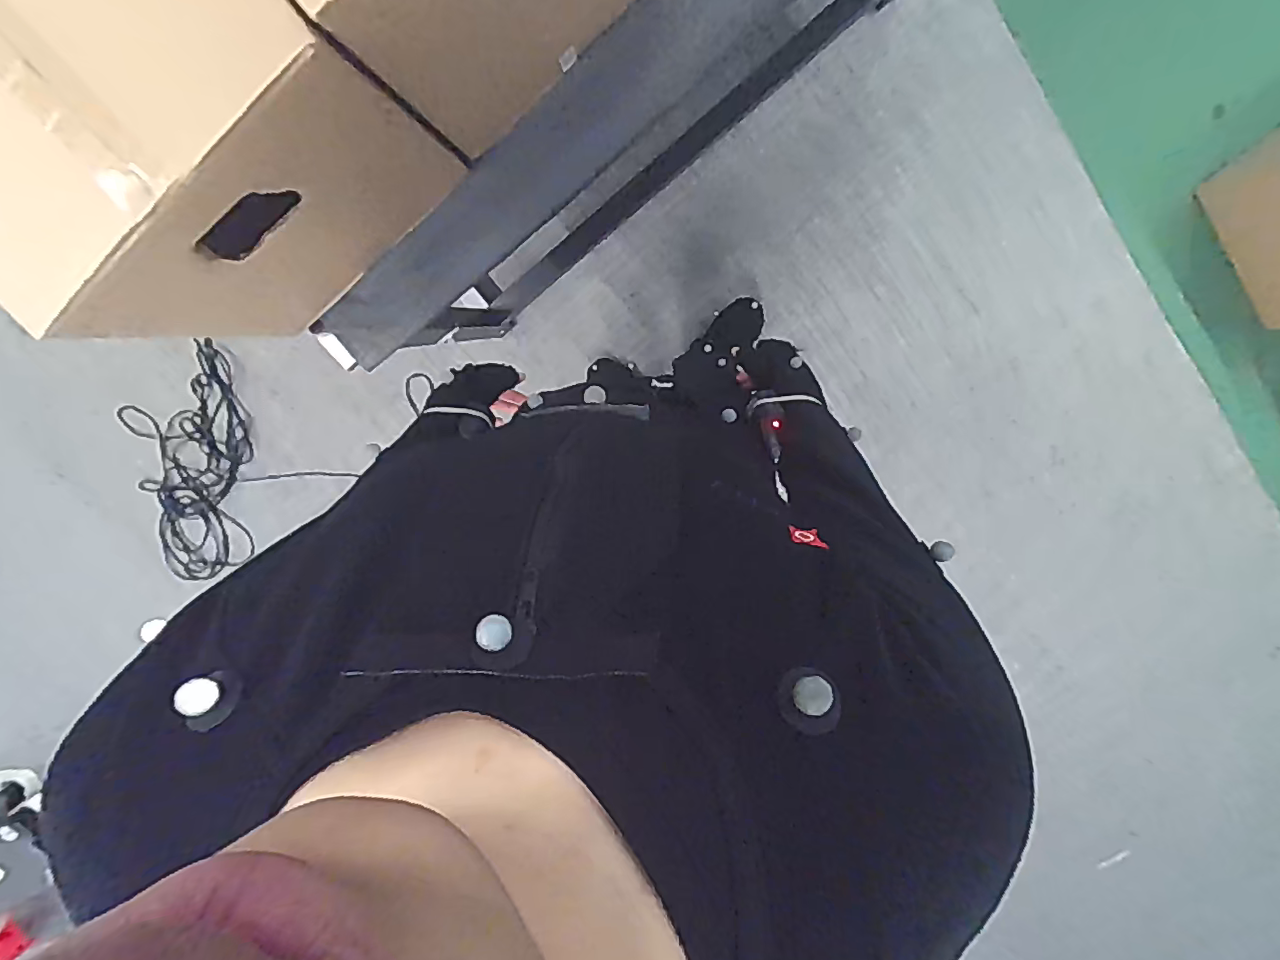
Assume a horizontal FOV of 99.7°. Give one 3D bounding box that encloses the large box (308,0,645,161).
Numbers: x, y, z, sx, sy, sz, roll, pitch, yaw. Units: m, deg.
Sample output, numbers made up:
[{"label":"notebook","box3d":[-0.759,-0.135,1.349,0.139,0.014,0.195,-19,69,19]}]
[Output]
[{"label":"large box","box3d":[-0.207,-0.575,0.439,0.320,0.320,0.408,-38,101,12]}]
